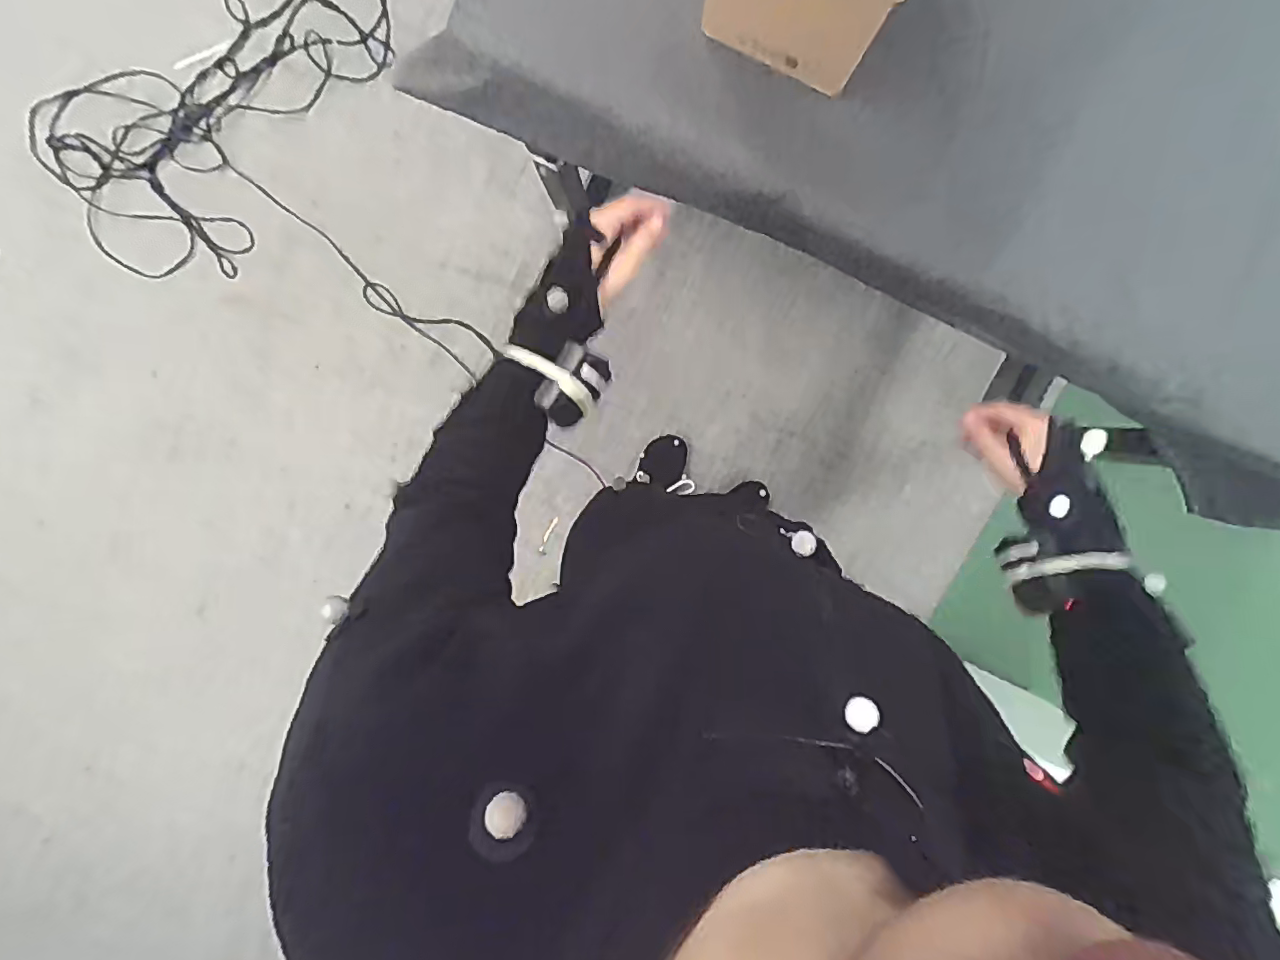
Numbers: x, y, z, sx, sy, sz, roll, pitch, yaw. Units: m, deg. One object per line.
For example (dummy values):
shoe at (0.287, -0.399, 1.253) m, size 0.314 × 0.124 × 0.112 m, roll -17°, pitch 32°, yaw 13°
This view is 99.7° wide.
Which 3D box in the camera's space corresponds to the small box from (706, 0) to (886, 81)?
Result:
small box at (0.171, -0.523, 0.487) m, size 0.168 × 0.176 × 0.179 m, roll 24°, pitch 96°, yaw -3°
